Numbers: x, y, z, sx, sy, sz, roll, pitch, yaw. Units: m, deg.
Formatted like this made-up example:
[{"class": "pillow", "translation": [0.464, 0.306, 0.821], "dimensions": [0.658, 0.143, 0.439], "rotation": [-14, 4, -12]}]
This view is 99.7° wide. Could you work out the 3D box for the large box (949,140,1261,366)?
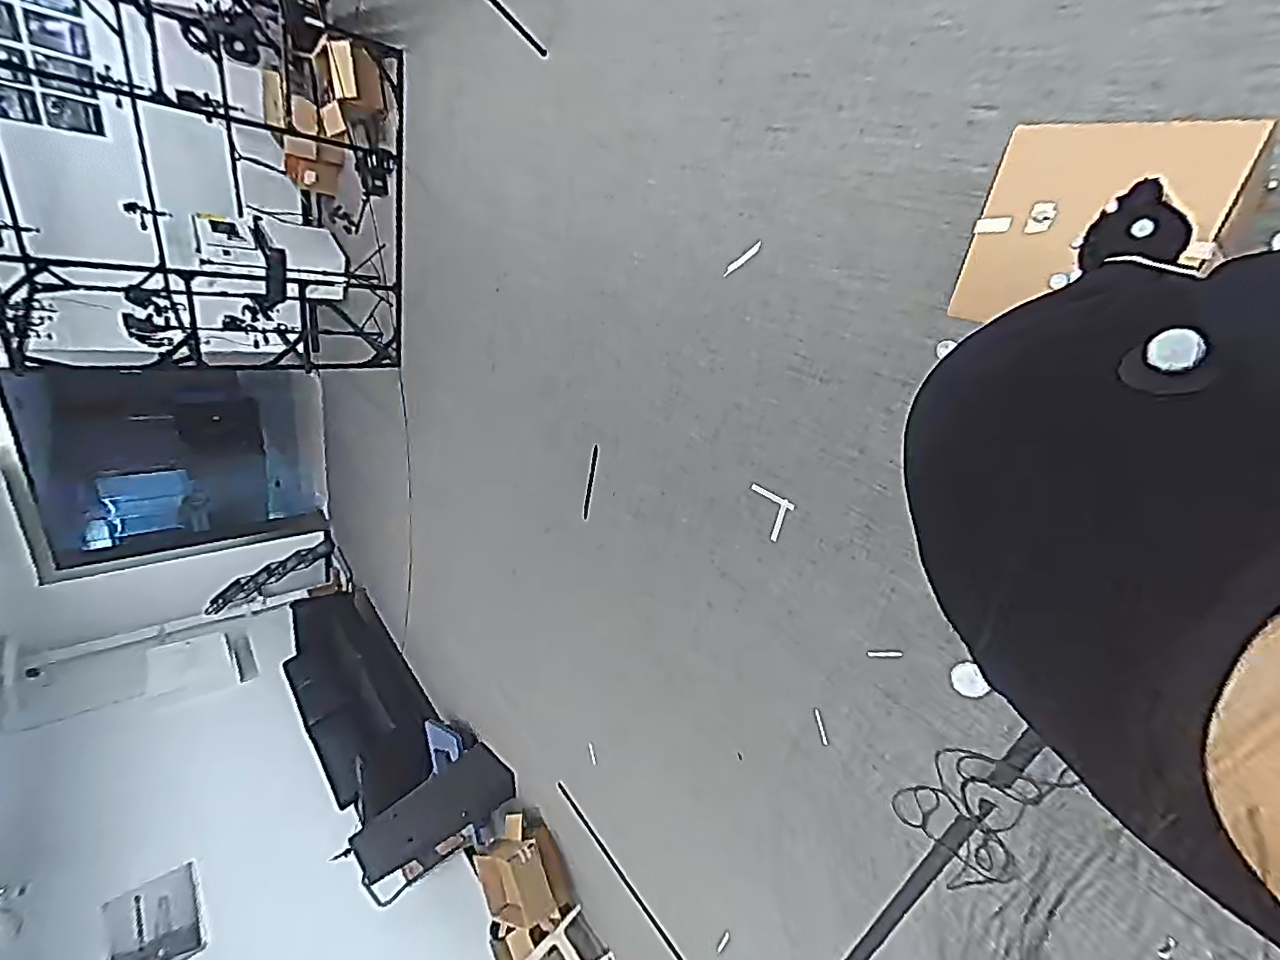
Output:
[{"class": "large box", "translation": [0.842, -0.410, 0.996], "dimensions": [0.320, 0.408, 0.320], "rotation": [31, 123, 39]}]
